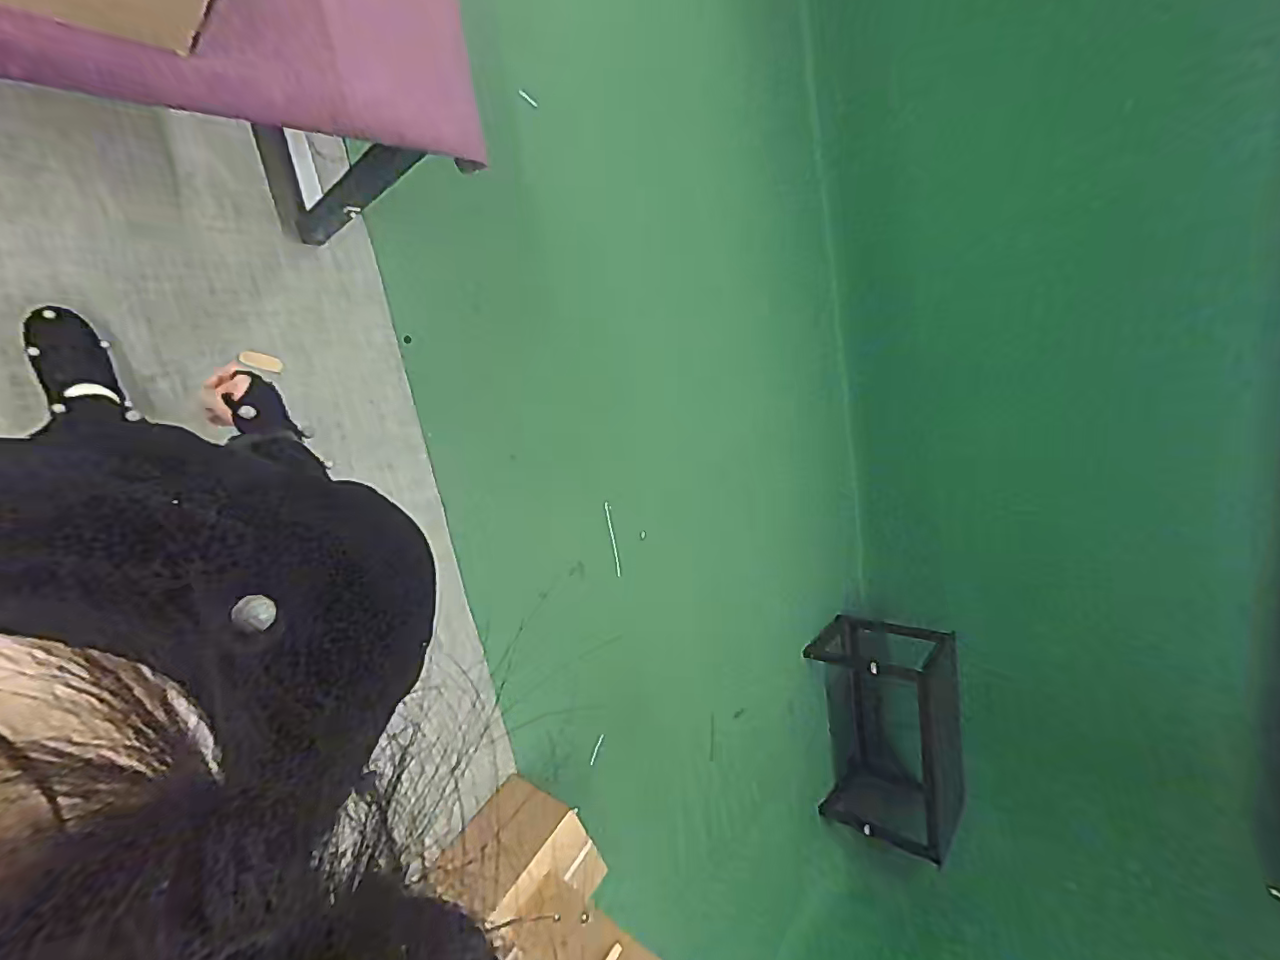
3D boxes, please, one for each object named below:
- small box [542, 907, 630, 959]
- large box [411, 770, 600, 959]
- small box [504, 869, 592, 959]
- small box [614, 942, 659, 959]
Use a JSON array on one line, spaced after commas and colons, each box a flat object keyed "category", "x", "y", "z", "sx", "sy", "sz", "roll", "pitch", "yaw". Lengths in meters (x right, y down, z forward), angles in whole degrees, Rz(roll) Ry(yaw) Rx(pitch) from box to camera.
[{"category": "small box", "x": -0.121, "y": 1.232, "z": 1.362, "sx": 0.168, "sy": 0.176, "sz": 0.179, "roll": -34, "pitch": 114, "yaw": -42}, {"category": "large box", "x": -0.402, "y": 1.206, "z": 1.660, "sx": 0.408, "sy": 0.320, "sz": 0.320, "roll": -41, "pitch": 121, "yaw": -41}, {"category": "small box", "x": -0.237, "y": 1.223, "z": 1.478, "sx": 0.179, "sy": 0.176, "sz": 0.168, "roll": -36, "pitch": 115, "yaw": -41}, {"category": "small box", "x": 0.004, "y": 1.234, "z": 1.254, "sx": 0.168, "sy": 0.176, "sz": 0.179, "roll": -36, "pitch": 114, "yaw": -41}]
